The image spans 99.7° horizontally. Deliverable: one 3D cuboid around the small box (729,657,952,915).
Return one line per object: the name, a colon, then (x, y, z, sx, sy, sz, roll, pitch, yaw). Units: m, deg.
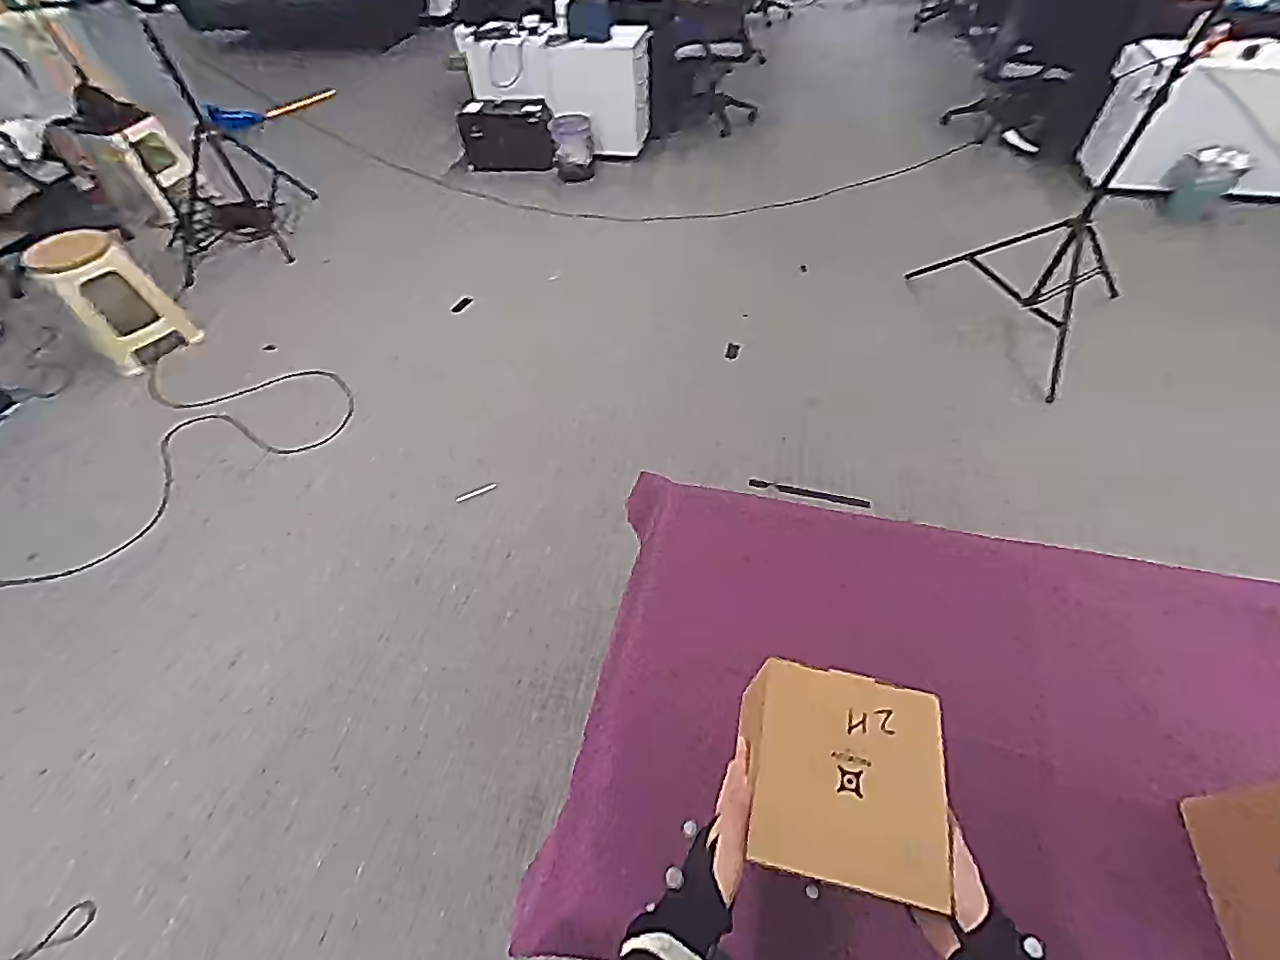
small box: (0.191, 0.308, 0.555, 0.168, 0.176, 0.179, 12, 56, 7)

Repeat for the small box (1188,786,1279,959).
small box: (0.698, 0.416, 0.514, 0.168, 0.176, 0.179, 10, 52, 10)
